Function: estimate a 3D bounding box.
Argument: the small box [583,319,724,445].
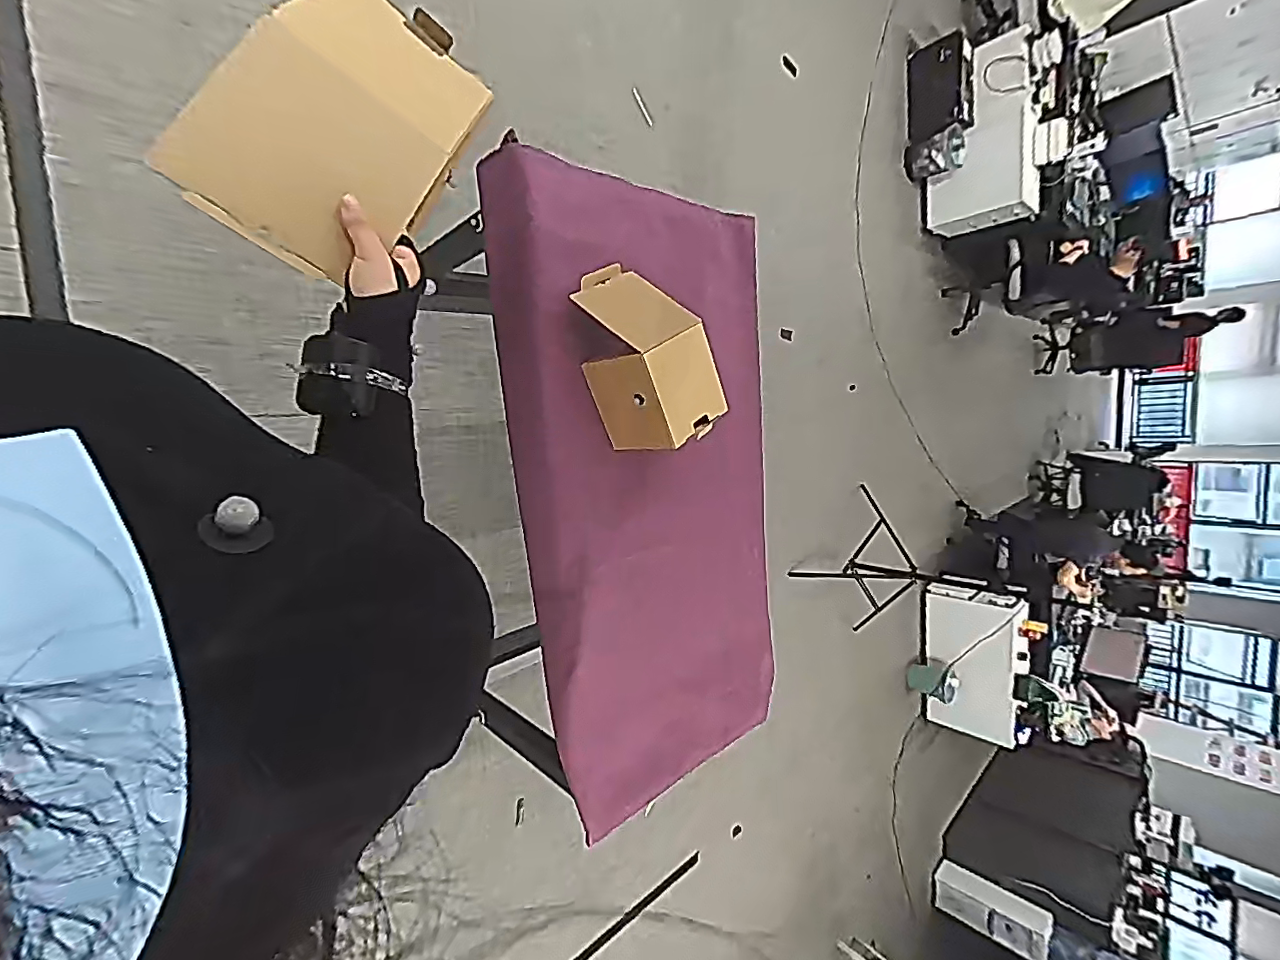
[{"bbox_3d":[0.022,-0.174,0.993,0.168,0.176,0.179,-37,117,-35],"label":"small box"}]
